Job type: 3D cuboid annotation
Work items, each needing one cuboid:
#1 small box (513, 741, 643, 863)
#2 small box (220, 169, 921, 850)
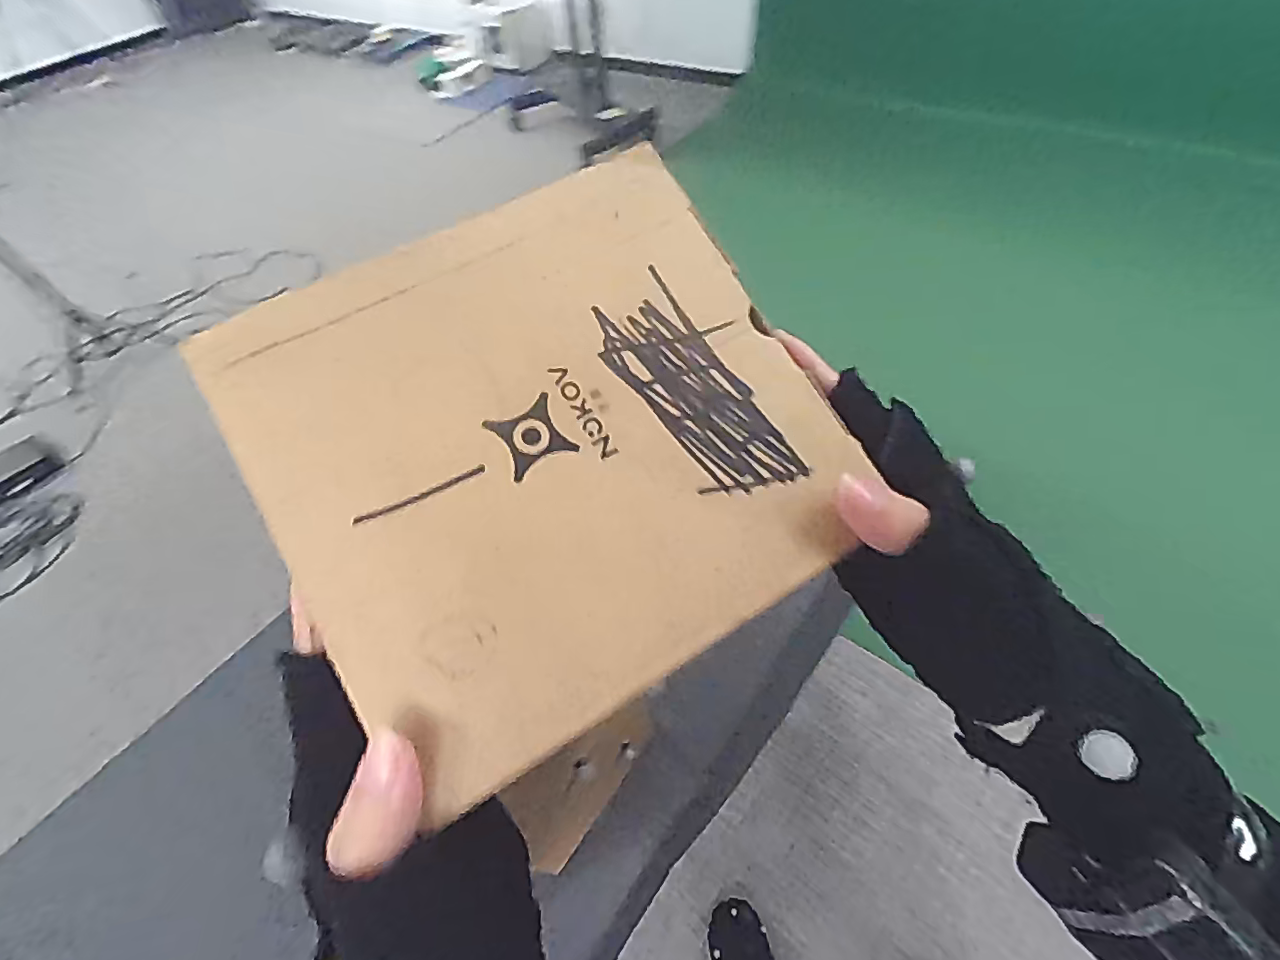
[{"bbox_3d":[-0.107,0.273,0.586,0.168,0.176,0.179,28,63,26],"label":"small box"},{"bbox_3d":[-0.027,0.009,0.252,0.179,0.176,0.168,-32,83,-14],"label":"small box"}]
